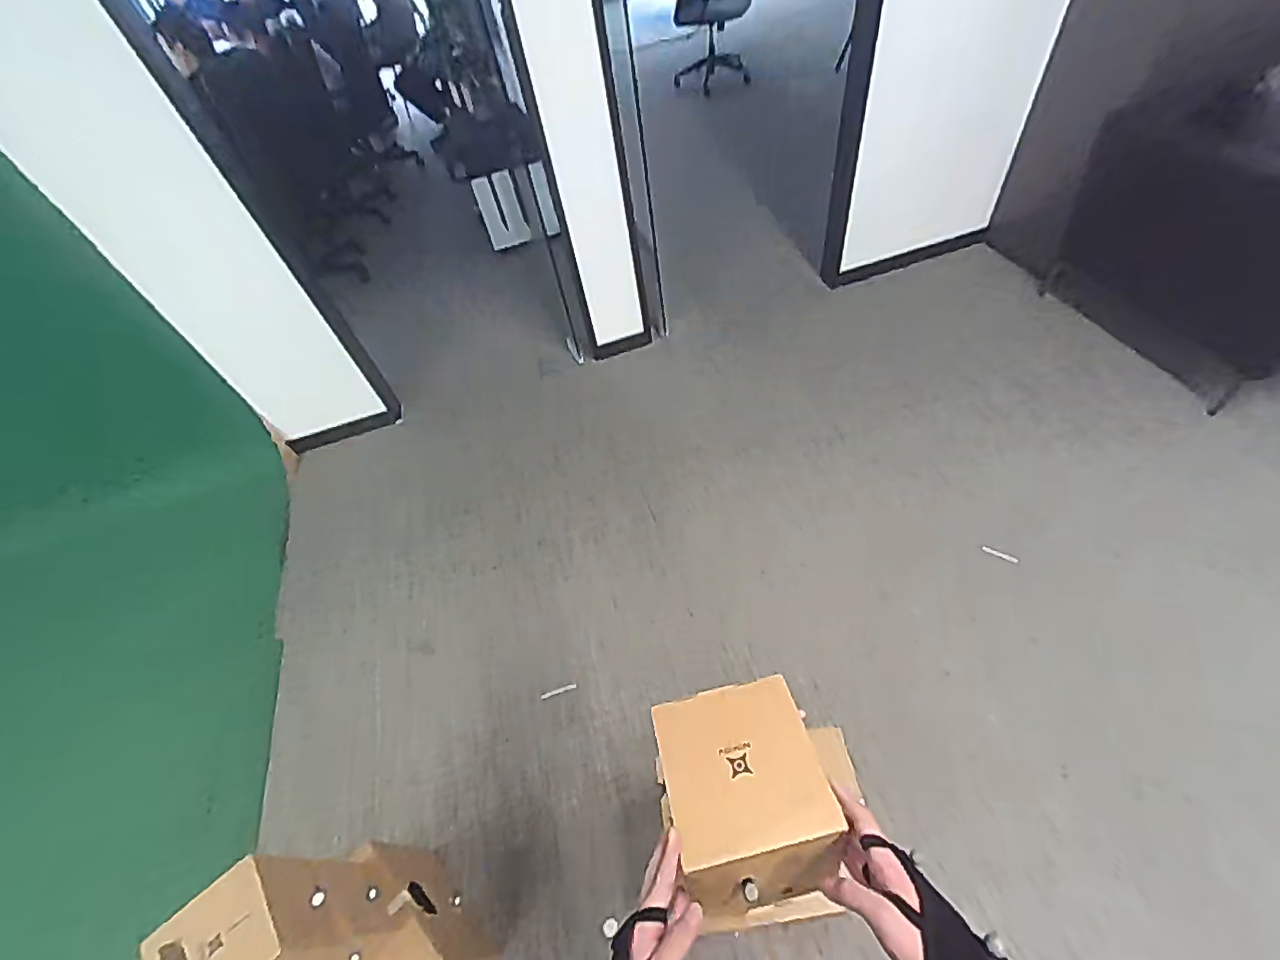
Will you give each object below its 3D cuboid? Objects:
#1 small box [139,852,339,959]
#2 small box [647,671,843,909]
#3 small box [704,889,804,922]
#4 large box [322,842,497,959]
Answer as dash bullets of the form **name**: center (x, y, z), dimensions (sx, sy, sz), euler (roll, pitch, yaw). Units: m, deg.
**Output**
- **small box**: center (-0.627, 0.741, 0.860), dimensions (0.179, 0.176, 0.168), euler (-38, 55, -20)
- **small box**: center (0.114, 0.358, 0.620), dimensions (0.168, 0.176, 0.179), euler (-13, 38, -3)
- **small box**: center (0.184, 0.675, 0.986), dimensions (0.168, 0.176, 0.179), euler (-12, 52, -1)
- **large box**: center (-0.584, 1.061, 1.128), dimensions (0.320, 0.320, 0.408), euler (31, 64, 30)
